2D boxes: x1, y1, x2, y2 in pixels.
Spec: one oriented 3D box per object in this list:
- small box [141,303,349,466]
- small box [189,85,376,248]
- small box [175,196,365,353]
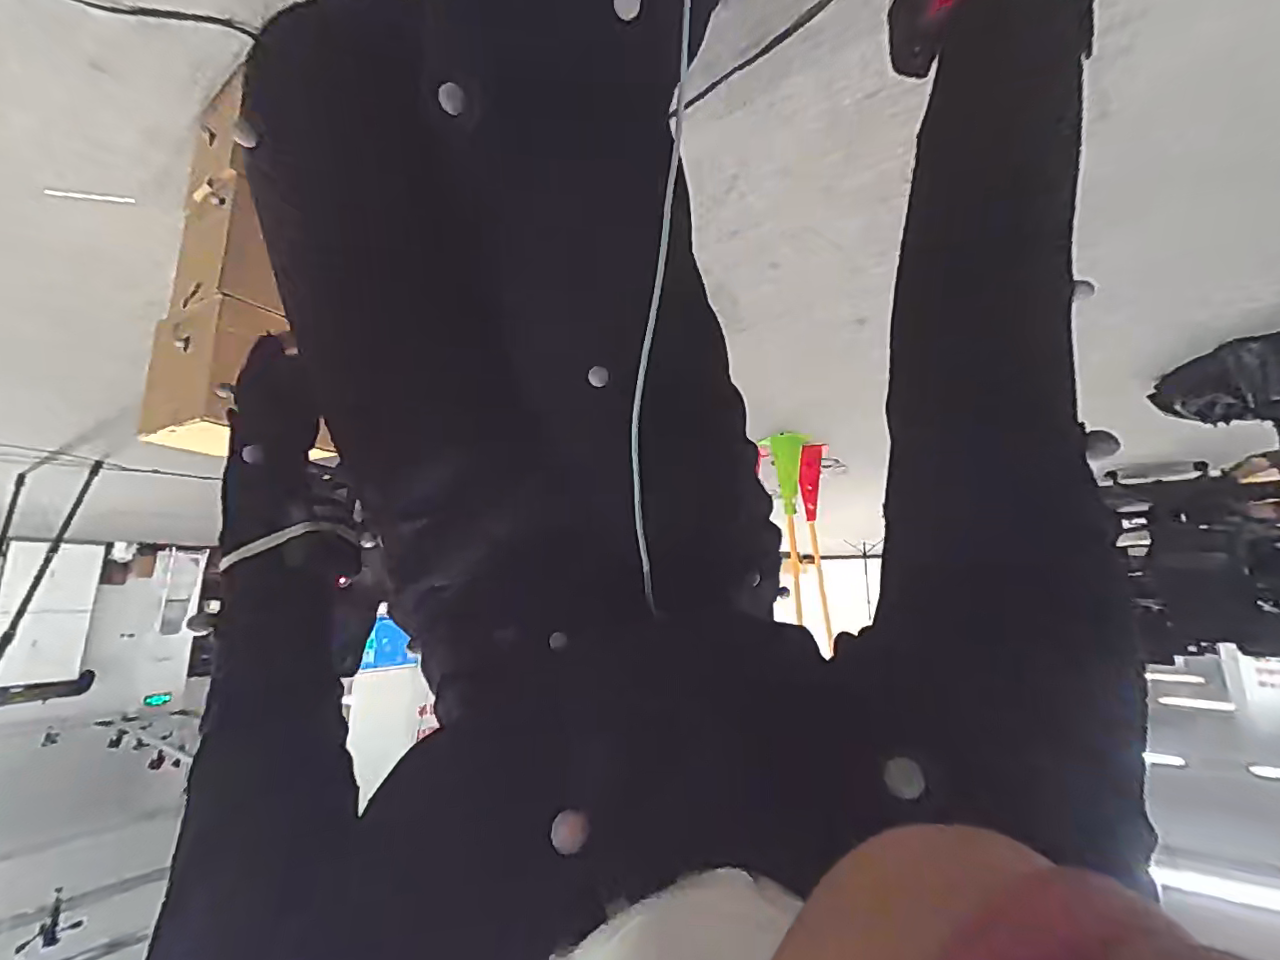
[{"bbox_3d":[-0.542,-0.124,0.762,0.168,0.176,0.179,-6,166,27],"label":"small box"},{"bbox_3d":[-0.533,-0.448,0.818,0.168,0.176,0.179,-4,166,35],"label":"small box"},{"bbox_3d":[-0.534,-0.283,0.791,0.168,0.176,0.179,-7,167,31],"label":"small box"}]
